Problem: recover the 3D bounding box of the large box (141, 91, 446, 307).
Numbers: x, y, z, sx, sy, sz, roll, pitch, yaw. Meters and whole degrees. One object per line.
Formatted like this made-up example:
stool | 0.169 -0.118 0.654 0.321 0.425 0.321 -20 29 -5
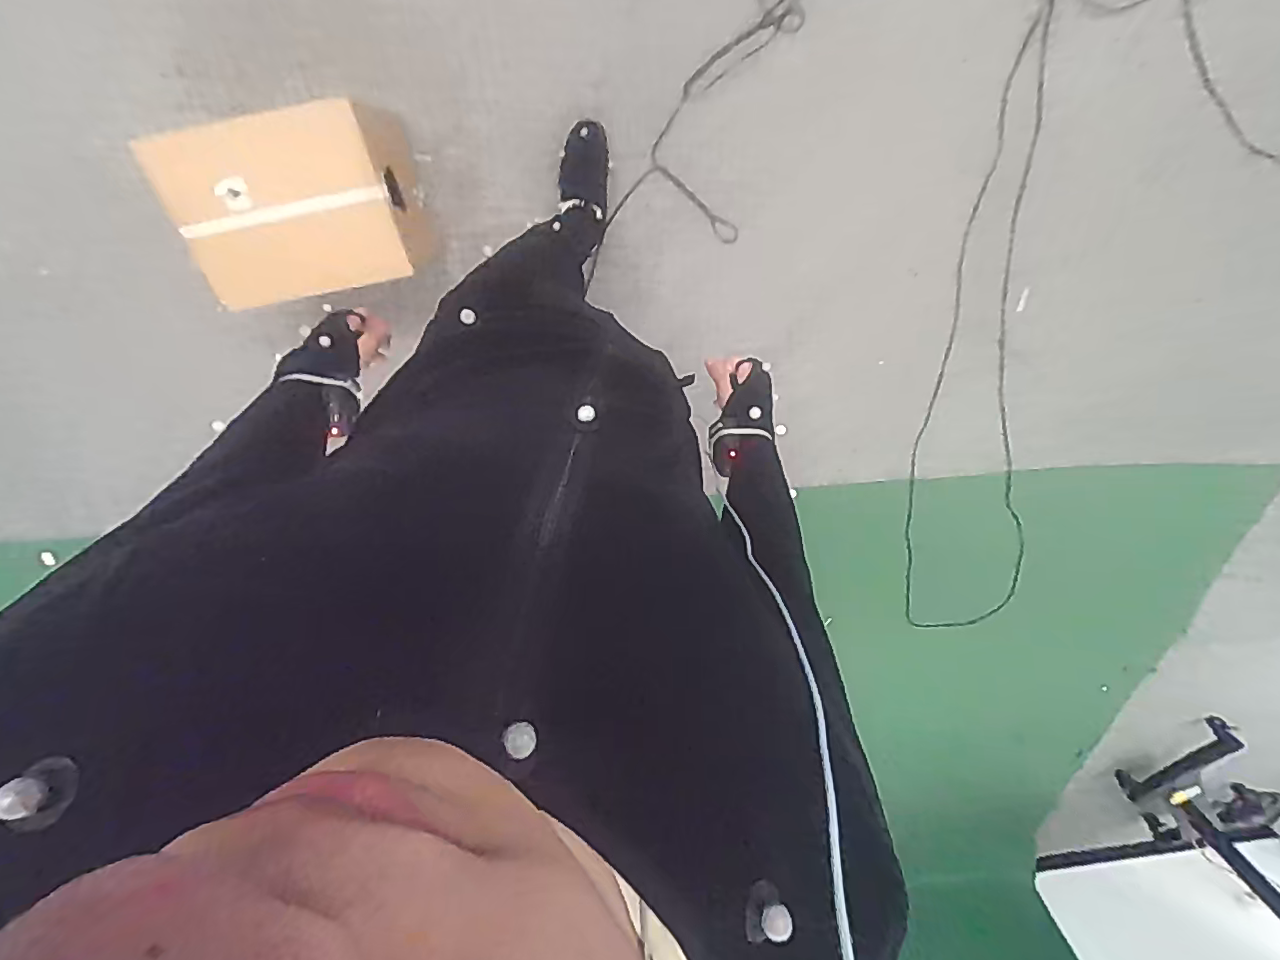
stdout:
large box | -0.698 -0.608 1.177 0.408 0.320 0.320 -11 121 1
